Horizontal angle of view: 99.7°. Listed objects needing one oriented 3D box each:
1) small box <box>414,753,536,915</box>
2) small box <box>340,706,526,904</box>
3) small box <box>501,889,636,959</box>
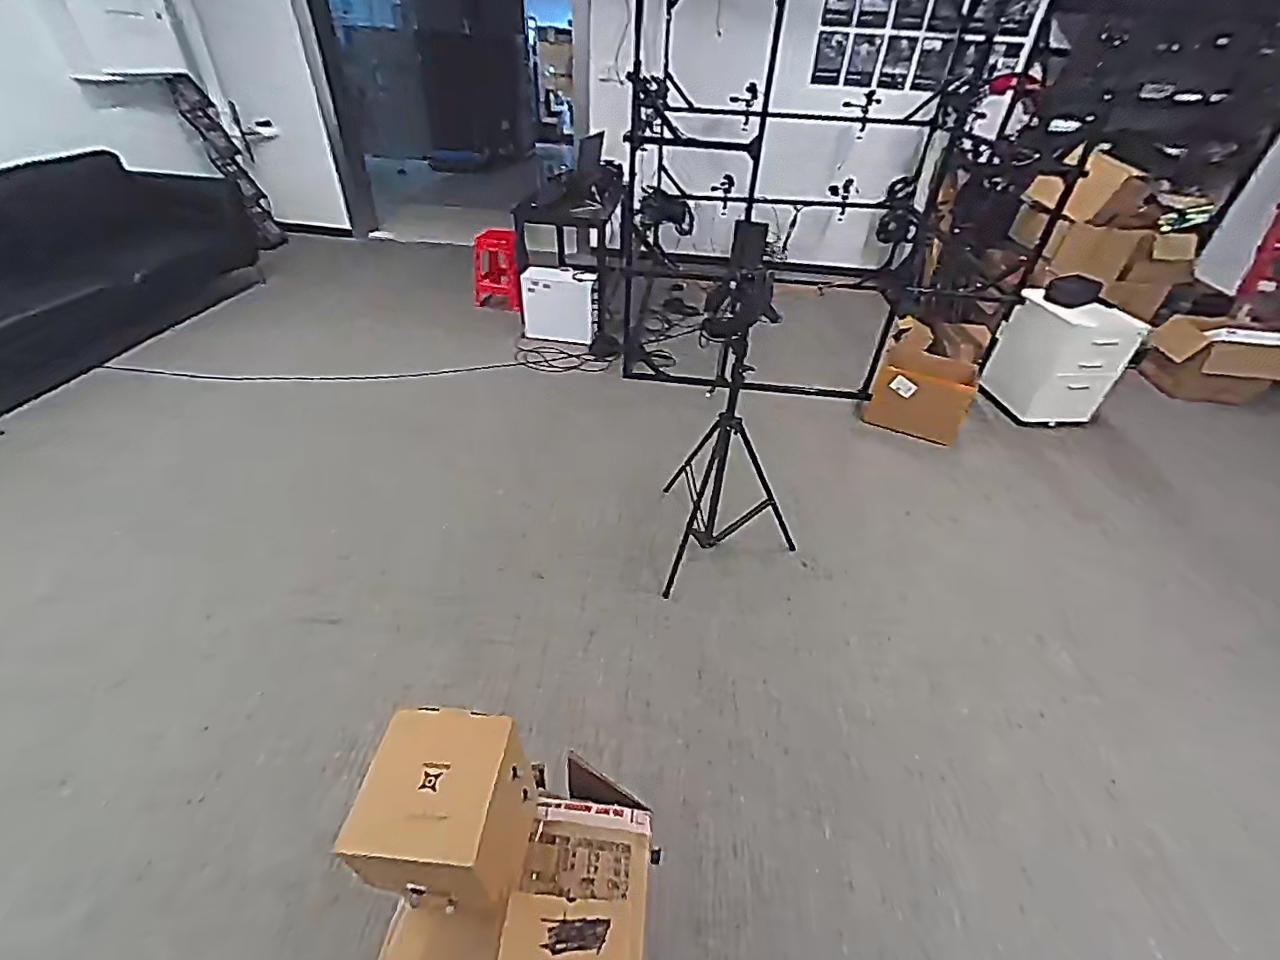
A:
[{"bbox_3d":[-0.264,0.543,0.845,0.168,0.176,0.179,4,40,3],"label":"small box"},{"bbox_3d":[-0.256,0.432,0.724,0.168,0.176,0.179,3,41,3],"label":"small box"},{"bbox_3d":[-0.097,0.669,0.705,0.168,0.176,0.179,4,41,1],"label":"small box"}]
